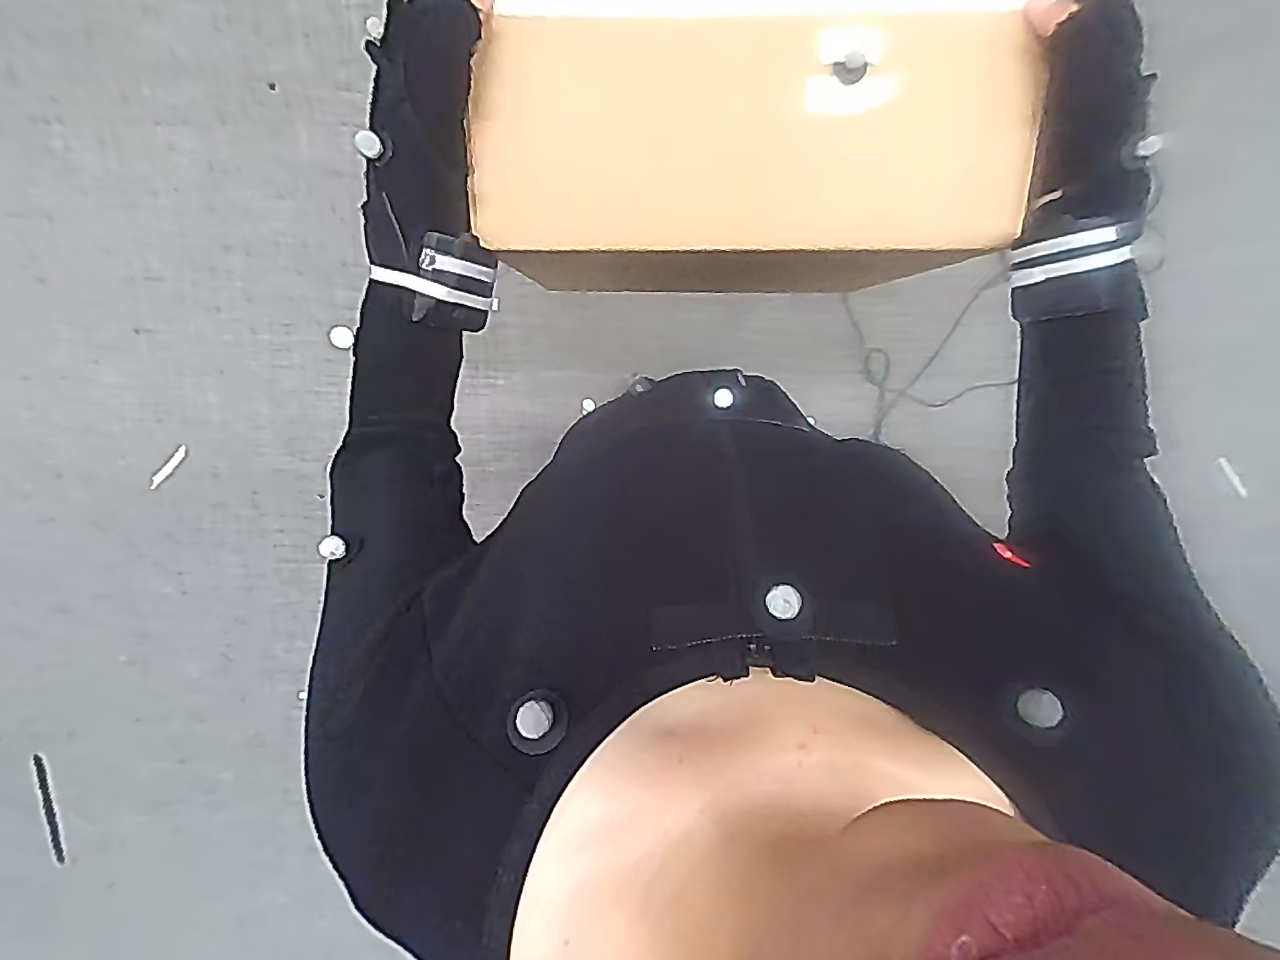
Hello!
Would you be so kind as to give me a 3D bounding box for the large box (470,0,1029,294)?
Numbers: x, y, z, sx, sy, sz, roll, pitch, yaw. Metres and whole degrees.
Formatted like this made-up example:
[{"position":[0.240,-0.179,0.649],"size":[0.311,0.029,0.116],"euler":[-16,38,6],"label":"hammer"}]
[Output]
[{"position":[0.075,-0.365,0.527],"size":[0.408,0.320,0.320],"euler":[0,103,0],"label":"large box"}]
